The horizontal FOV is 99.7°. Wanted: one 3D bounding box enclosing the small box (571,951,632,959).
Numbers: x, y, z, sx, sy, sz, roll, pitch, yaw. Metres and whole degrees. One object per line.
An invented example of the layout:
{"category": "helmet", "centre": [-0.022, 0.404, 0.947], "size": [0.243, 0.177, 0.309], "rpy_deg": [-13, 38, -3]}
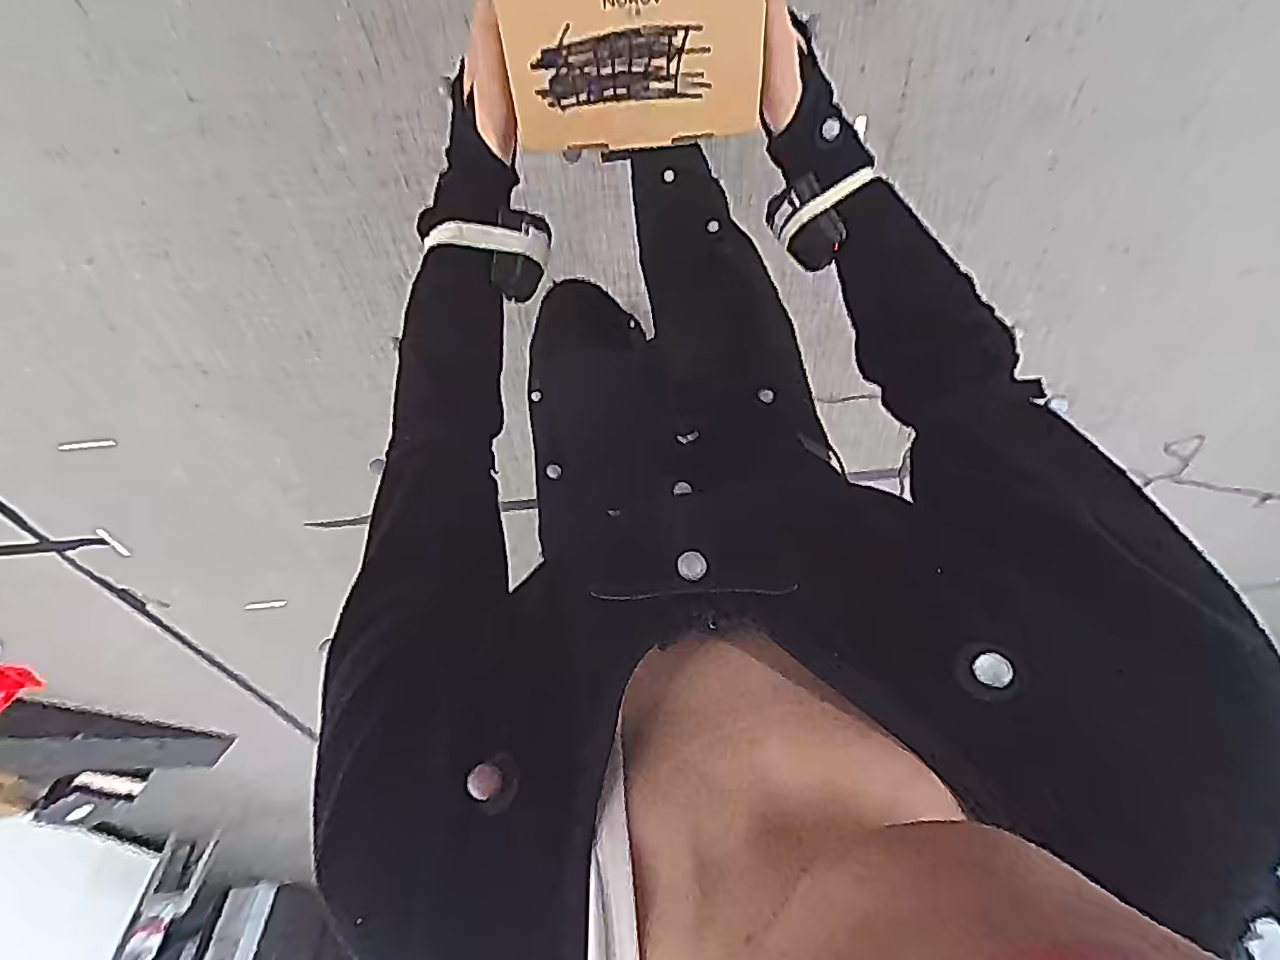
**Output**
{"category": "small box", "centre": [-0.107, 1.444, 1.521], "size": [0.168, 0.176, 0.179], "rpy_deg": [-6, 135, 1]}

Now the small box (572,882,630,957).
{"category": "small box", "centre": [-0.115, 1.346, 1.651], "size": [0.168, 0.176, 0.179], "rpy_deg": [-4, 134, -2]}

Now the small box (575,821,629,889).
{"category": "small box", "centre": [-0.123, 1.228, 1.765], "size": [0.168, 0.176, 0.179], "rpy_deg": [-3, 135, -2]}
